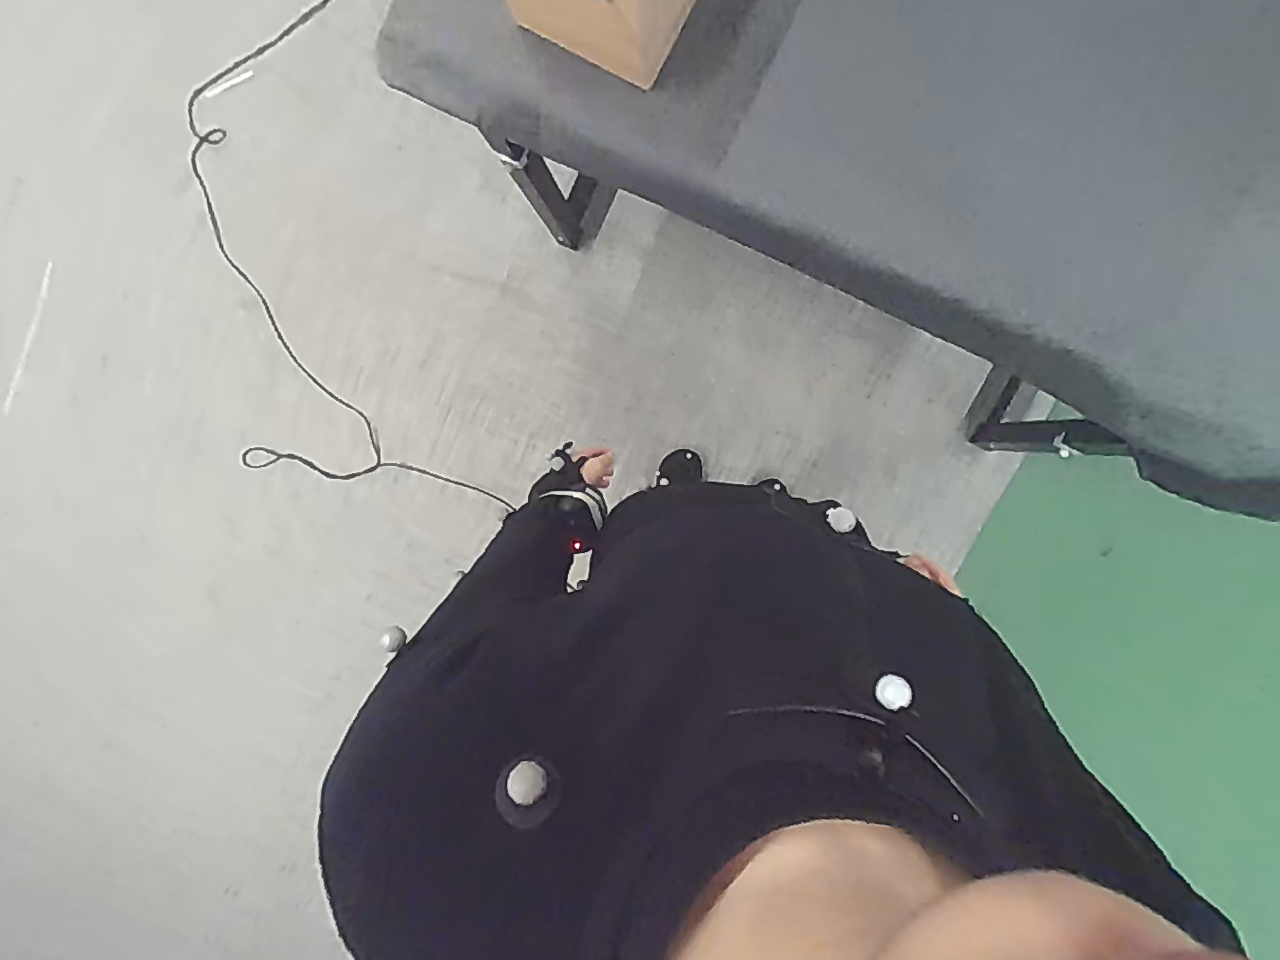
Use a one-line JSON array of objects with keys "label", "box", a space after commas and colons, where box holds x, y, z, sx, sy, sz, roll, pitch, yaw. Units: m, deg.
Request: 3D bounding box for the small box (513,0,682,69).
[{"label": "small box", "box": [-0.034, -0.549, 0.517, 0.179, 0.176, 0.168, 29, 95, 2]}]
